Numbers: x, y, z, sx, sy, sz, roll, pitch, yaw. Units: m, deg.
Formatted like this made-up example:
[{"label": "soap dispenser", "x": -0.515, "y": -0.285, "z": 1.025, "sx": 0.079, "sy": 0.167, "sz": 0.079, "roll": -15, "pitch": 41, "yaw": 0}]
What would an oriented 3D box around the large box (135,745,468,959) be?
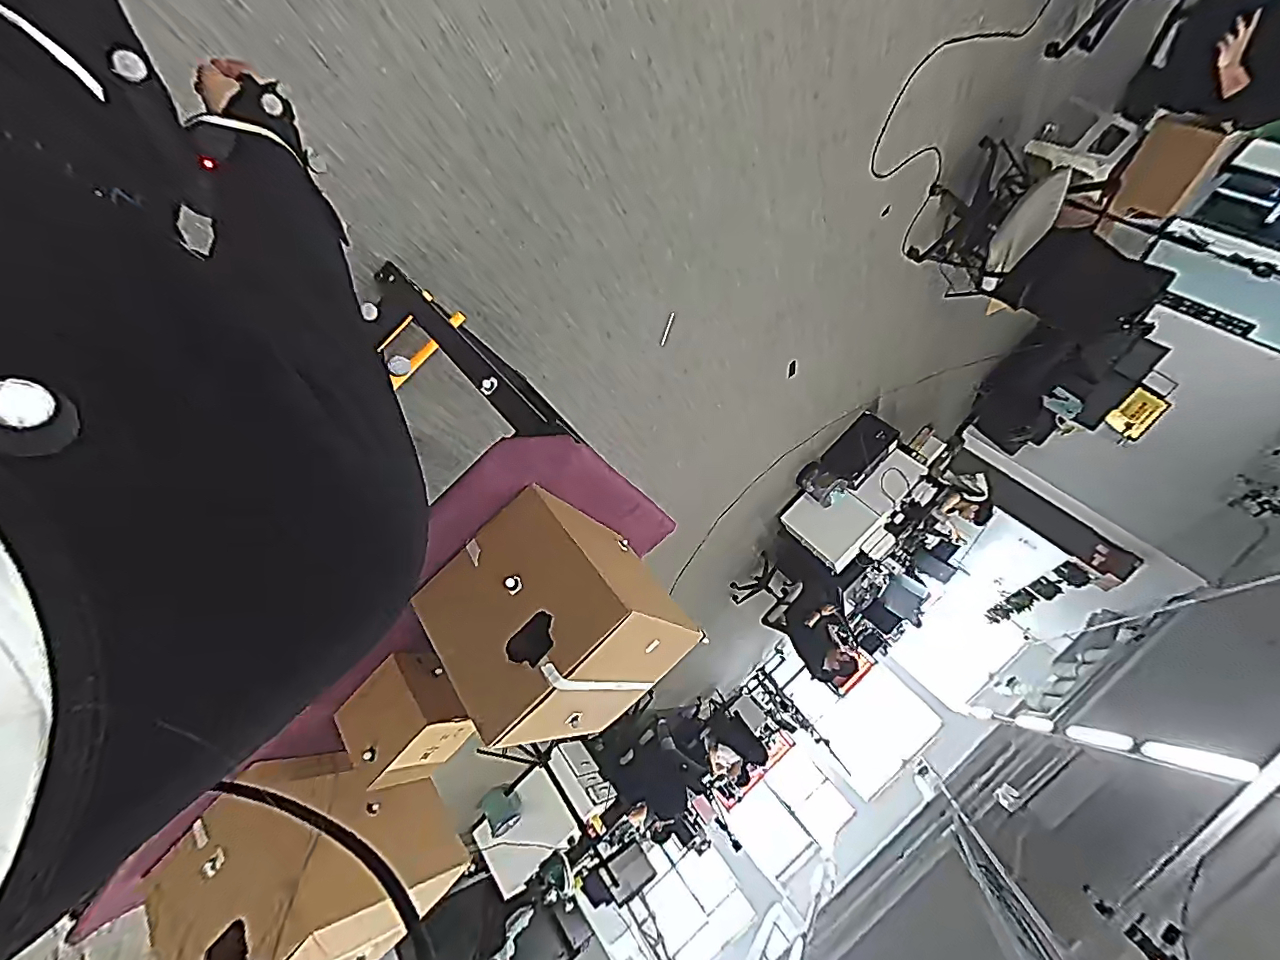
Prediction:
[{"label": "large box", "x": -0.636, "y": 0.773, "z": 1.061, "sx": 0.320, "sy": 0.320, "sz": 0.408, "roll": -45, "pitch": 152, "yaw": 1}]
